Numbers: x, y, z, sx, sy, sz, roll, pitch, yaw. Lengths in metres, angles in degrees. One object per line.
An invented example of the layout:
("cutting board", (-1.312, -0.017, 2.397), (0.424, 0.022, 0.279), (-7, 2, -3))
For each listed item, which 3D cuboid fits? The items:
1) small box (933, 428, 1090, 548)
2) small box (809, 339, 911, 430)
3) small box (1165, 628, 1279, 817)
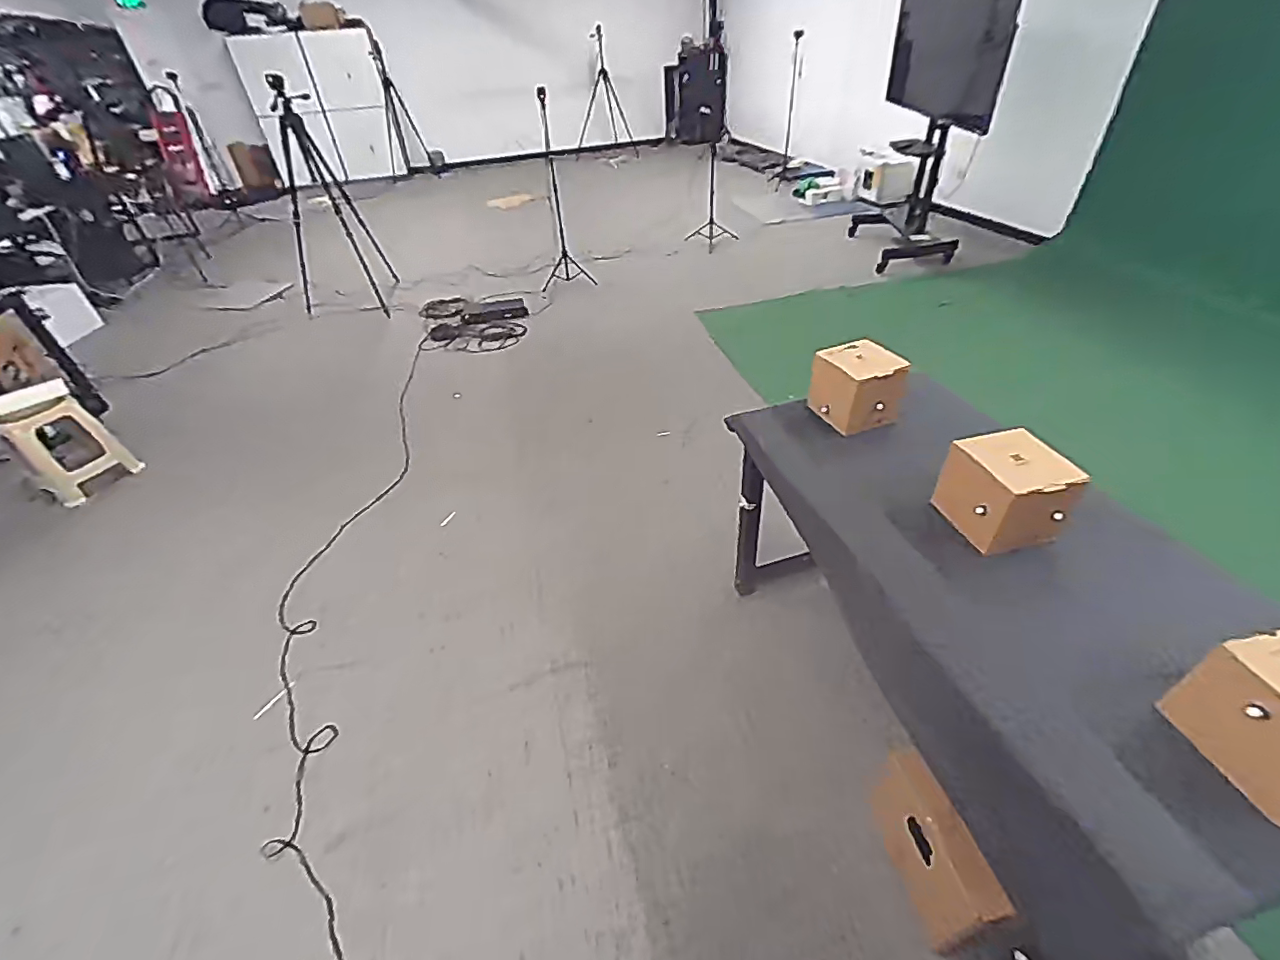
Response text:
("small box", (0.738, 0.022, 1.097), (0.168, 0.176, 0.179), (-10, 39, -9))
("small box", (0.575, -0.248, 1.436), (0.168, 0.176, 0.179), (-16, 42, -14))
("small box", (0.878, 0.318, 0.717), (0.168, 0.176, 0.179), (-11, 40, -7))
